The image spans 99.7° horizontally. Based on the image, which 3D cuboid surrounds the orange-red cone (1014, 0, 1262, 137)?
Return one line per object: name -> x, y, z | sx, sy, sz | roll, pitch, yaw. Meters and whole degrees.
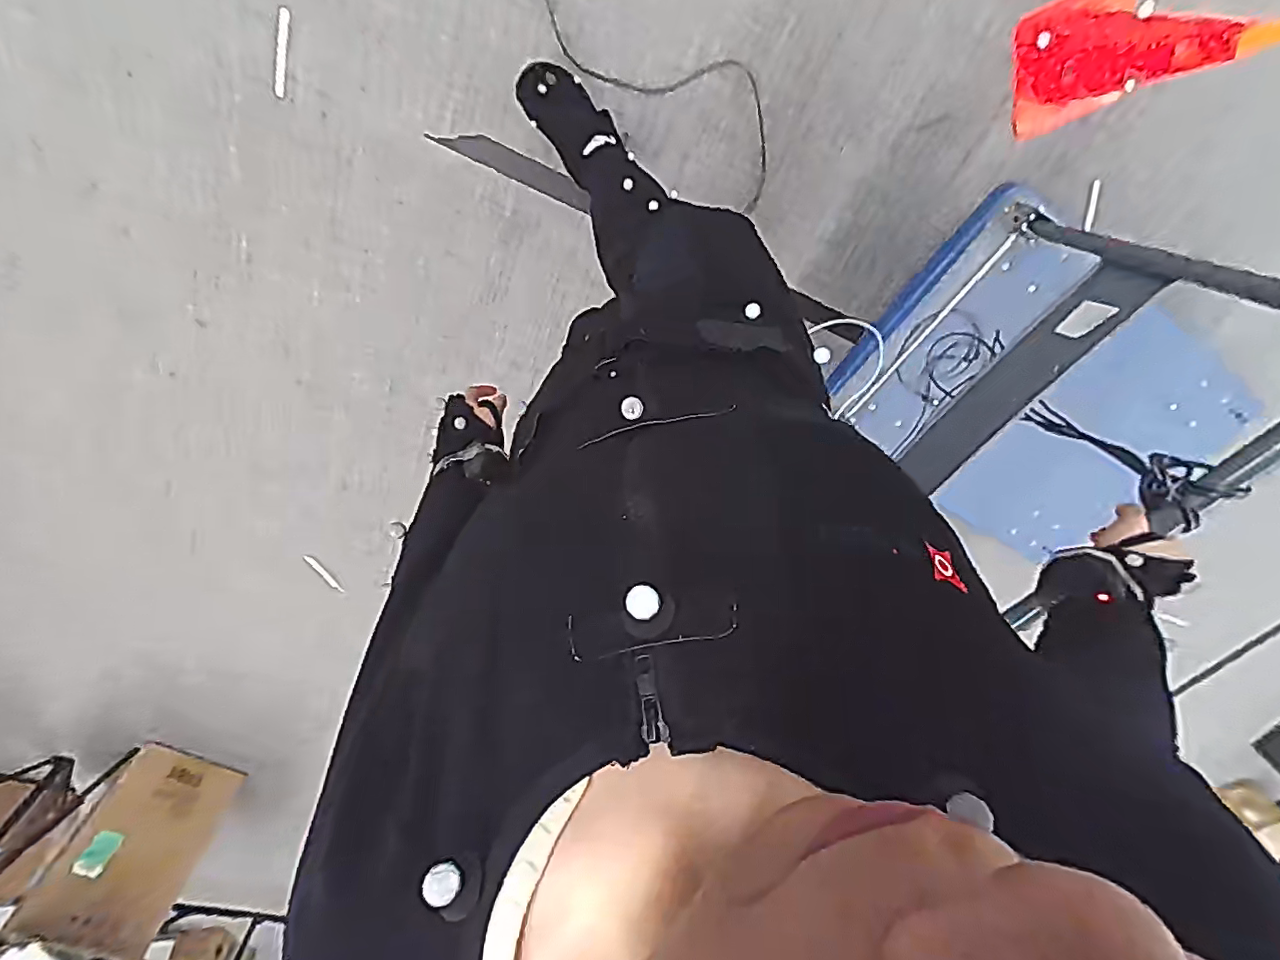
orange-red cone -> 0.799, -0.672, 0.856 | 0.198, 0.360, 0.199 | -18, 124, 11
